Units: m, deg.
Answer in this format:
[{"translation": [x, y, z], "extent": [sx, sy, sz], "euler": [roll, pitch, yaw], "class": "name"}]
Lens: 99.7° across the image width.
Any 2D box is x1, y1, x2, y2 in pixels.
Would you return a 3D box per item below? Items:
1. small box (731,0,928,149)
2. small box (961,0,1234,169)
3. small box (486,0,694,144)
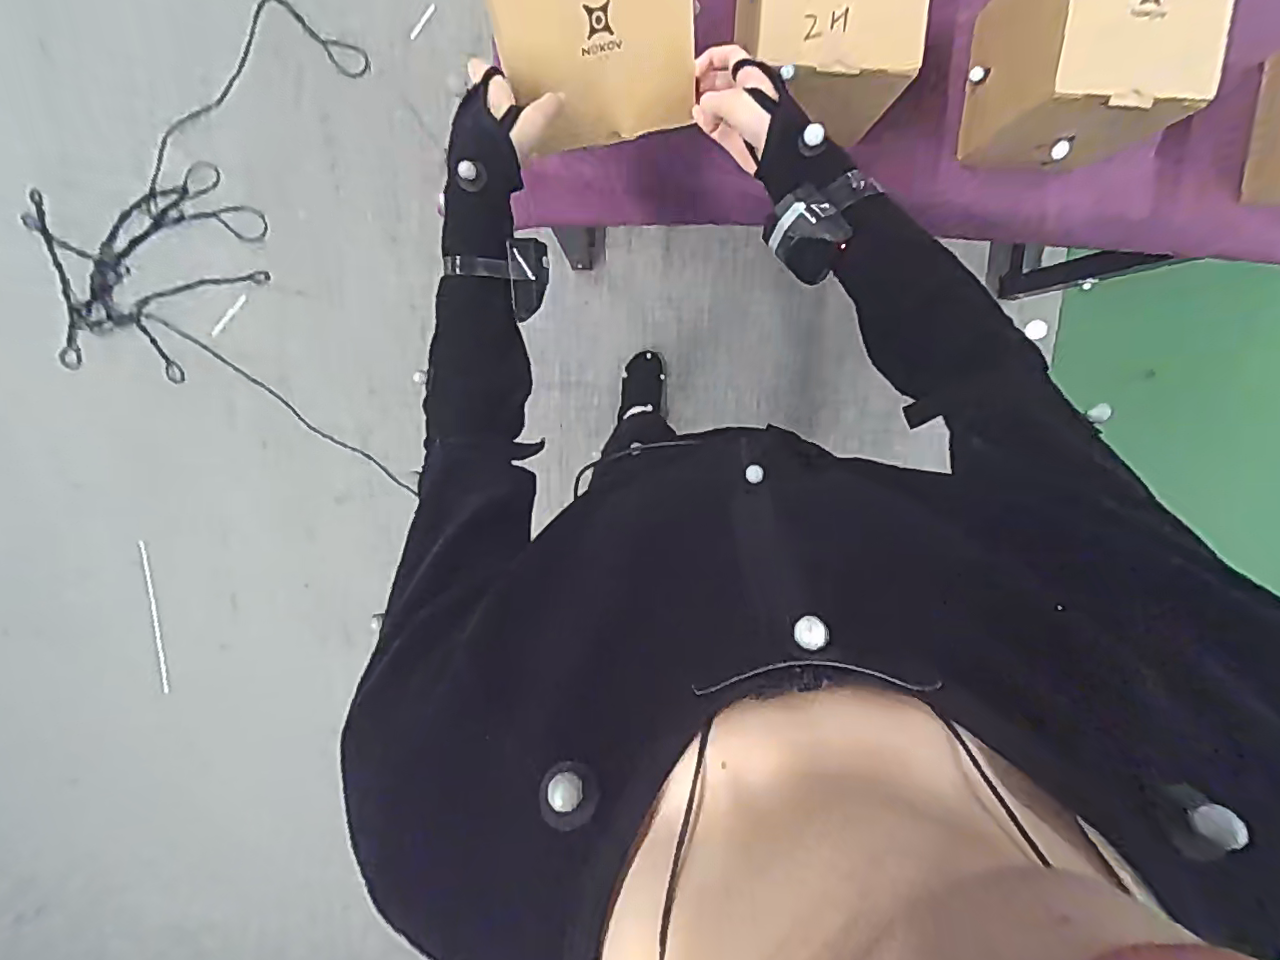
[{"translation": [0.199, -0.503, 0.600], "extent": [0.168, 0.176, 0.179], "euler": [3, 99, 0], "class": "small box"}, {"translation": [0.496, -0.476, 0.608], "extent": [0.168, 0.176, 0.179], "euler": [3, 99, -2], "class": "small box"}, {"translation": [-0.055, -0.442, 0.489], "extent": [0.168, 0.176, 0.179], "euler": [-14, 142, -4], "class": "small box"}]
